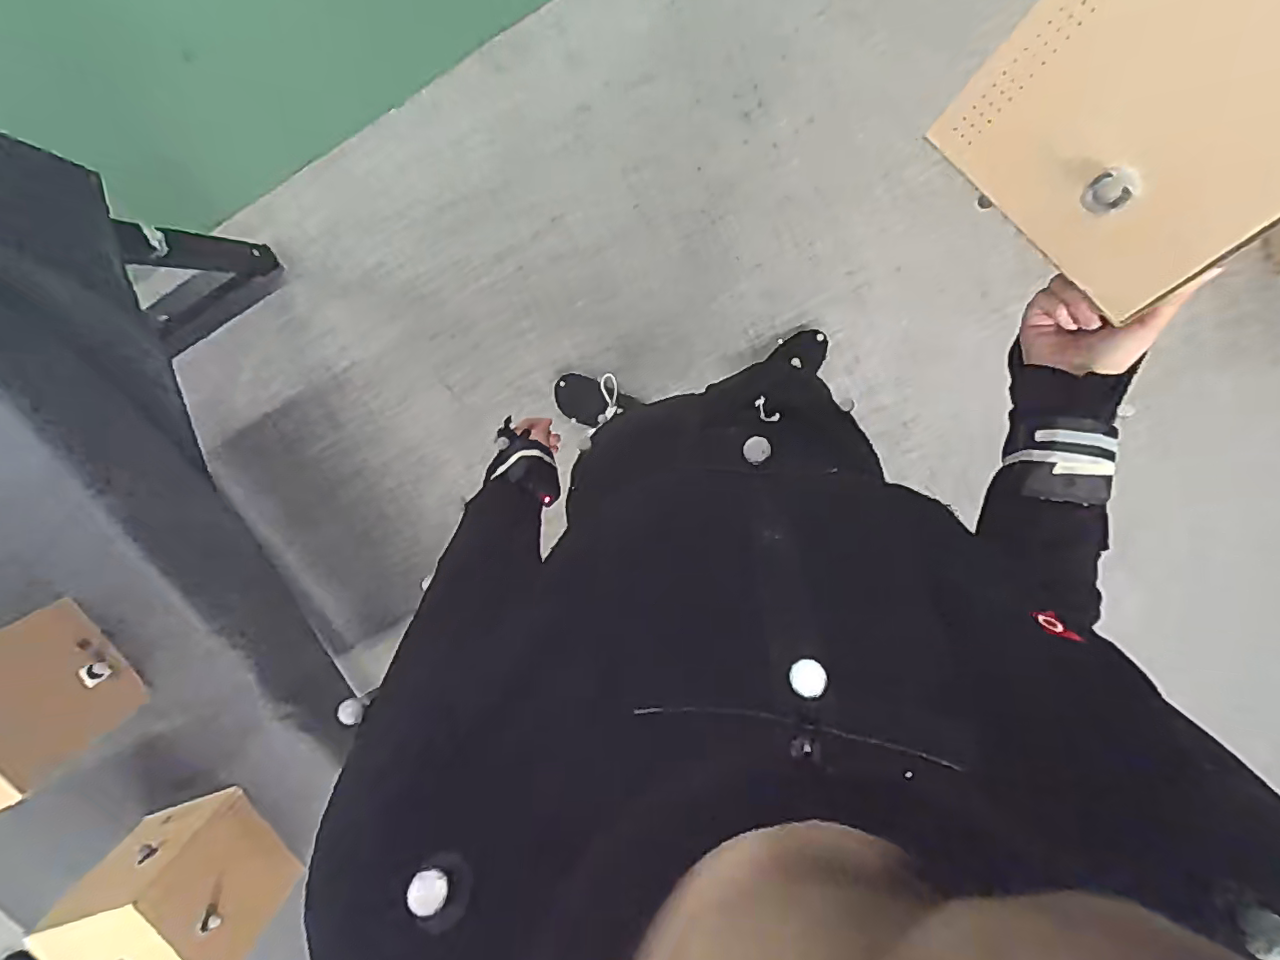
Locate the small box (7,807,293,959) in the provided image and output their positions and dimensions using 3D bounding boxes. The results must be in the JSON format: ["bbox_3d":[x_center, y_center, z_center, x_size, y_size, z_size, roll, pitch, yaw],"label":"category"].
[{"bbox_3d":[-0.605,0.560,0.697,0.168,0.176,0.179,-22,106,7],"label":"small box"}]

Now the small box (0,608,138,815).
[{"bbox_3d":[-0.751,0.279,0.614,0.179,0.176,0.168,-27,106,7],"label":"small box"}]
